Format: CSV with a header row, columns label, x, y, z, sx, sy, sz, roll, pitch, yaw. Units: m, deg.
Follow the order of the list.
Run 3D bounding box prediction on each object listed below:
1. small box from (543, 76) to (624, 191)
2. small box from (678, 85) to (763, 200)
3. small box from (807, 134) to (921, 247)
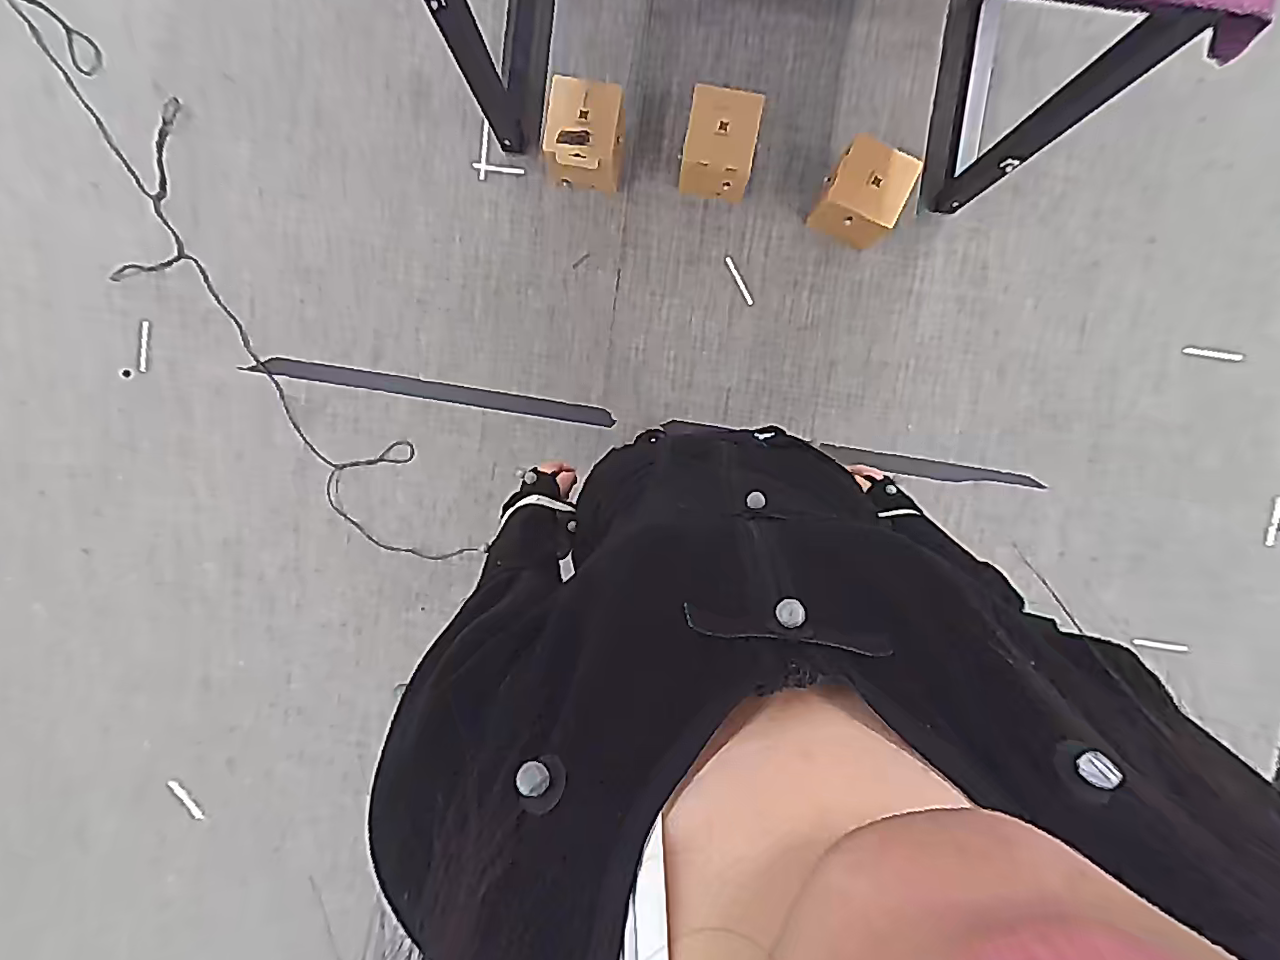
label,x,y,z,sx,sy,sz,roll,pitch,yaw
small box,-0.133,-0.843,1.334,0.168,0.176,0.179,9,94,0
small box,0.190,-0.820,1.333,0.168,0.176,0.179,10,94,-1
small box,0.544,-0.702,1.338,0.179,0.176,0.168,25,96,0
